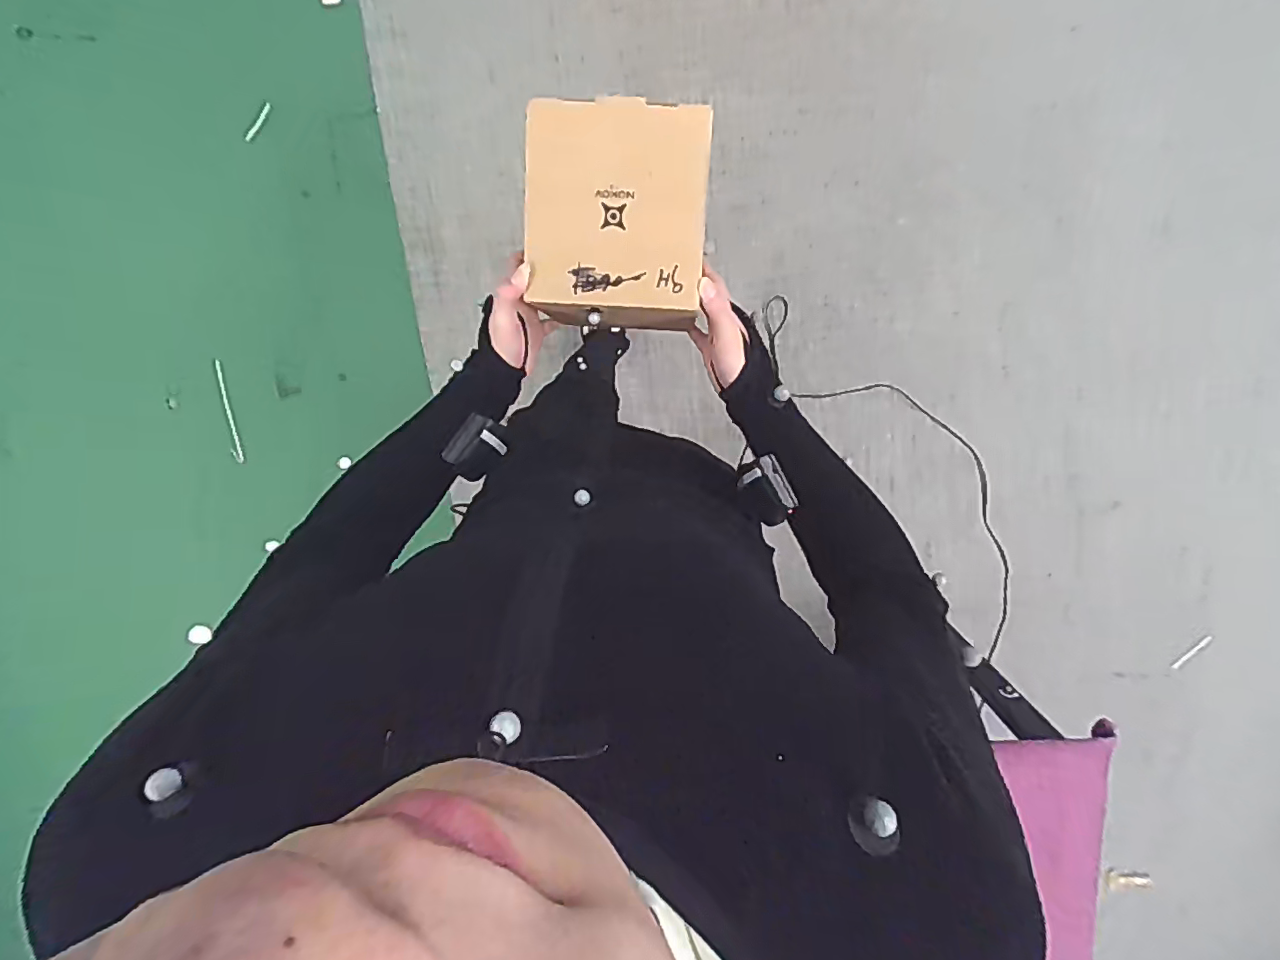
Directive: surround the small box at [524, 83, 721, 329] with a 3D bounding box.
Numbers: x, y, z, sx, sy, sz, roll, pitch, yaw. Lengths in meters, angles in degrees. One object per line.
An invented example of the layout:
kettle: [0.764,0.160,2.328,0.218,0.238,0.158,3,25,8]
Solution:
small box: [-0.015,-0.262,0.556,0.168,0.176,0.179,4,98,2]
